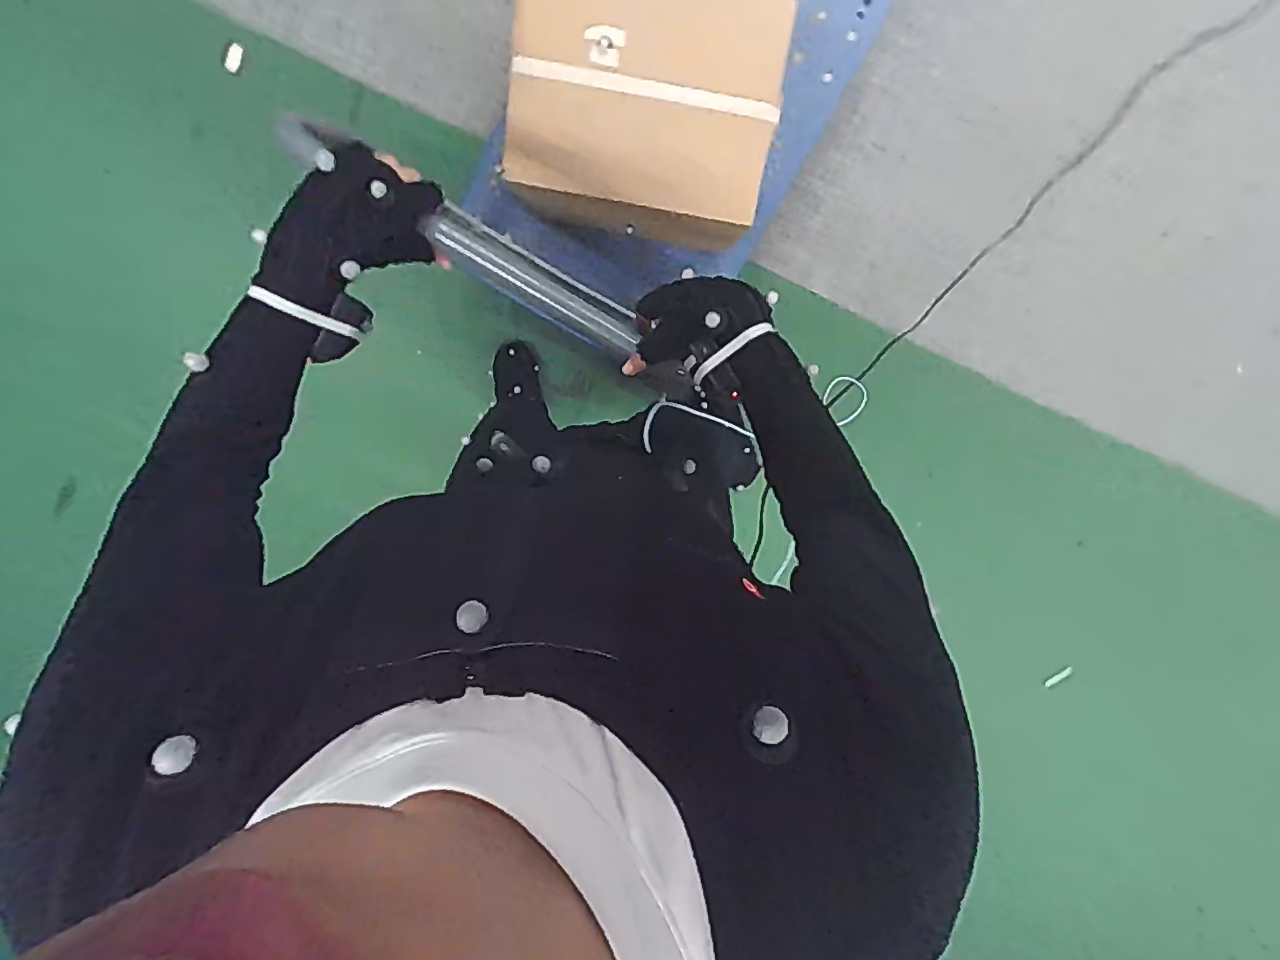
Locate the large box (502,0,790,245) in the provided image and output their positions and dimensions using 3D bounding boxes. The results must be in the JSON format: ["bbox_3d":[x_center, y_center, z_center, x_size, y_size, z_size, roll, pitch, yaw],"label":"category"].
[{"bbox_3d":[0.005,-0.625,0.958,0.408,0.320,0.320,10,105,-2],"label":"large box"}]
